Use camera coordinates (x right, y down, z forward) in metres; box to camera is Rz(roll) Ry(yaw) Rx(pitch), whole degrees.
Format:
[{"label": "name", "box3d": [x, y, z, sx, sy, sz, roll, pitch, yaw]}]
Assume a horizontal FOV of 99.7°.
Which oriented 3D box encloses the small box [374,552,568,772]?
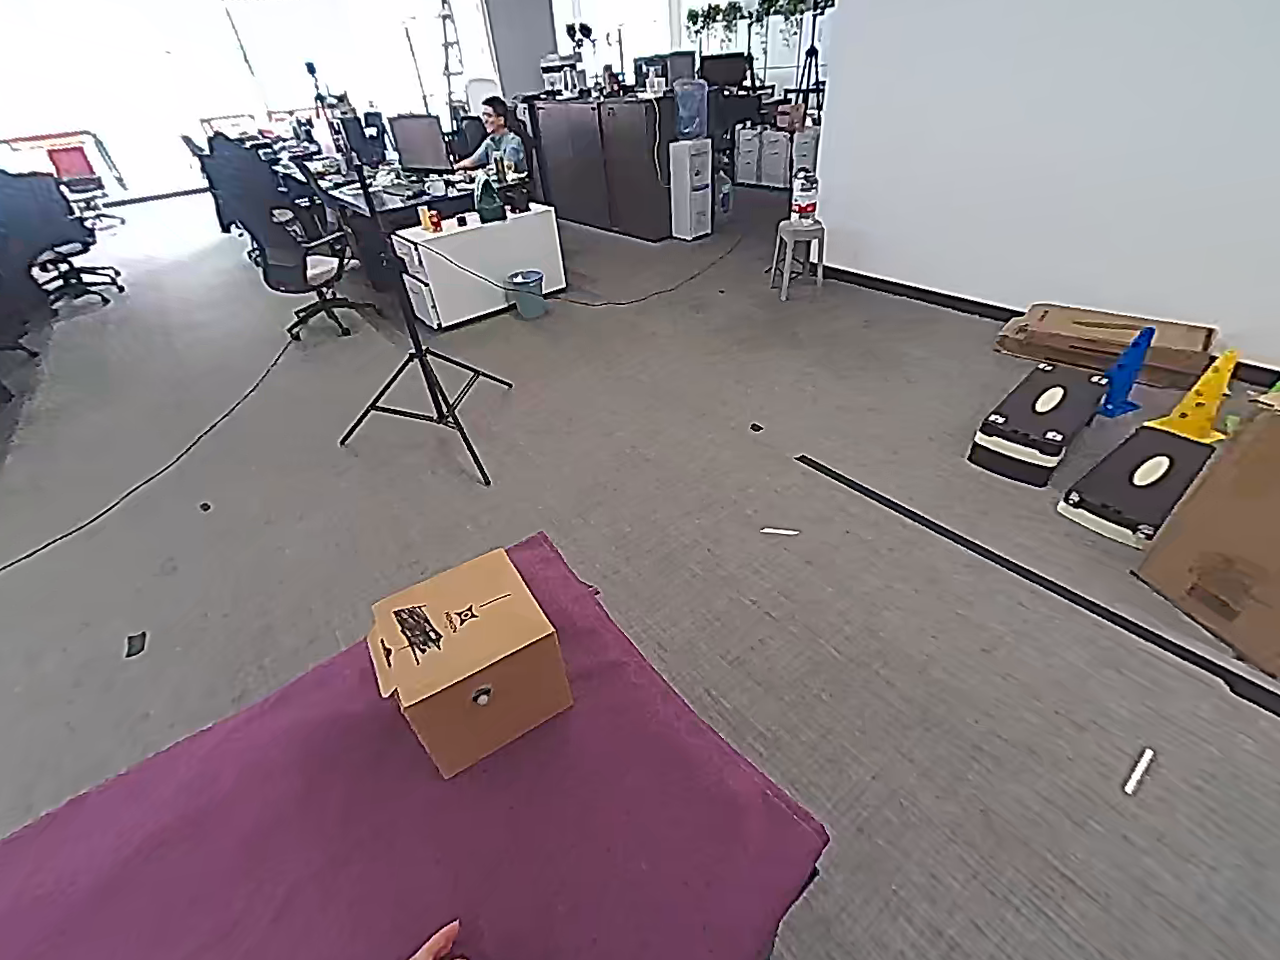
[{"label": "small box", "box3d": [-0.210, 0.232, 0.696, 0.179, 0.176, 0.168, -23, 43, -24]}]
